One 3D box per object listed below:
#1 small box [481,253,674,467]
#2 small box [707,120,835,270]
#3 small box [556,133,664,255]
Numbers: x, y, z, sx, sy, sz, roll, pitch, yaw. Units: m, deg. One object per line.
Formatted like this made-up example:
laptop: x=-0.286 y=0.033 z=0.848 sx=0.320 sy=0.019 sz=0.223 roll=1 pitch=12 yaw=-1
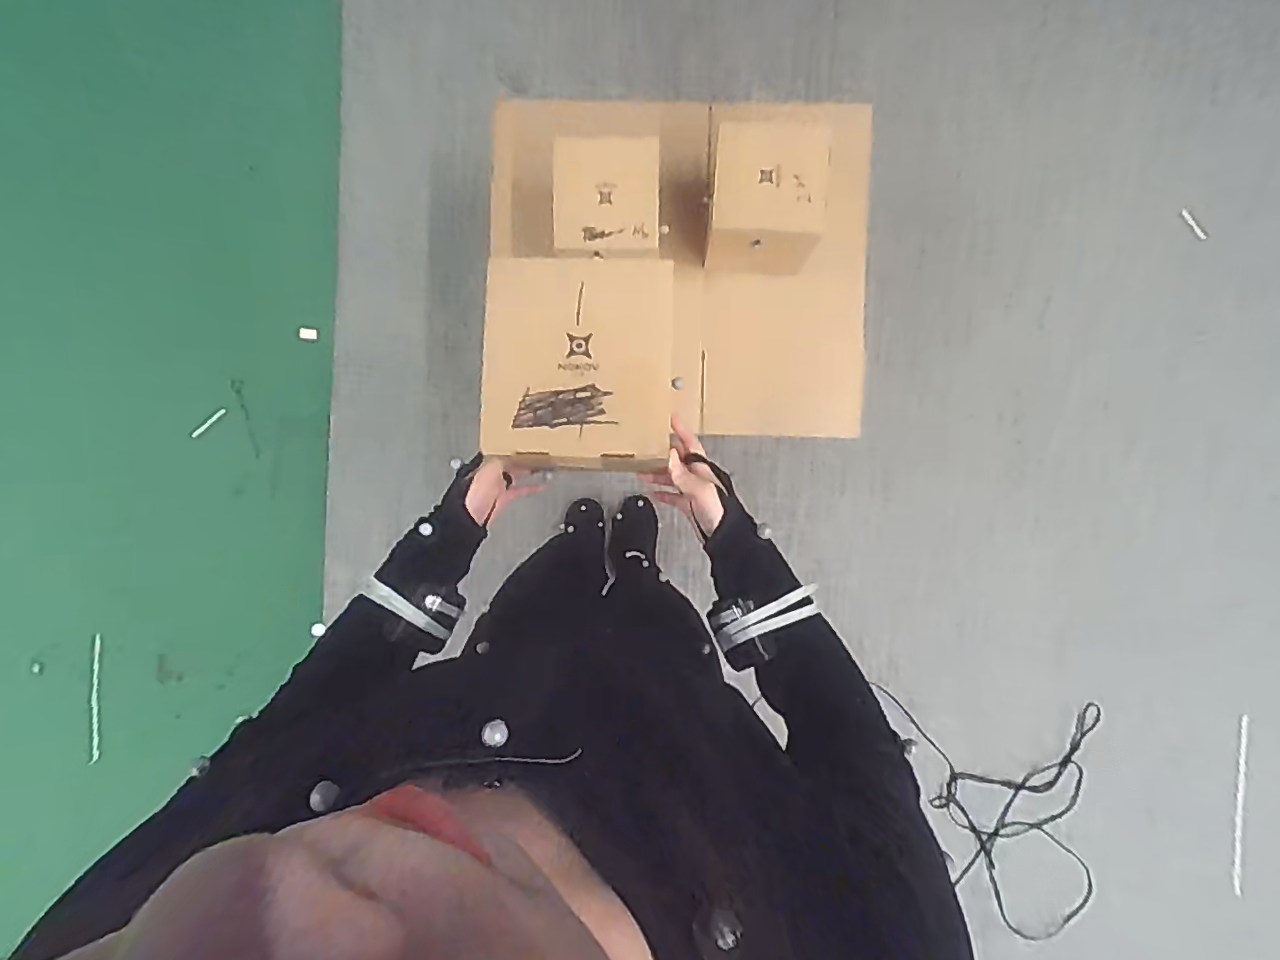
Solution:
small box: x=-0.051 y=-0.107 z=0.551 sx=0.168 sy=0.176 sz=0.179 roll=2 pitch=85 yaw=2
small box: x=0.208 y=-0.464 z=0.903 sx=0.179 sy=0.176 sz=0.168 roll=5 pitch=91 yaw=3
small box: x=-0.045 y=-0.447 z=0.911 sx=0.168 sy=0.176 sz=0.179 roll=1 pitch=90 yaw=2
